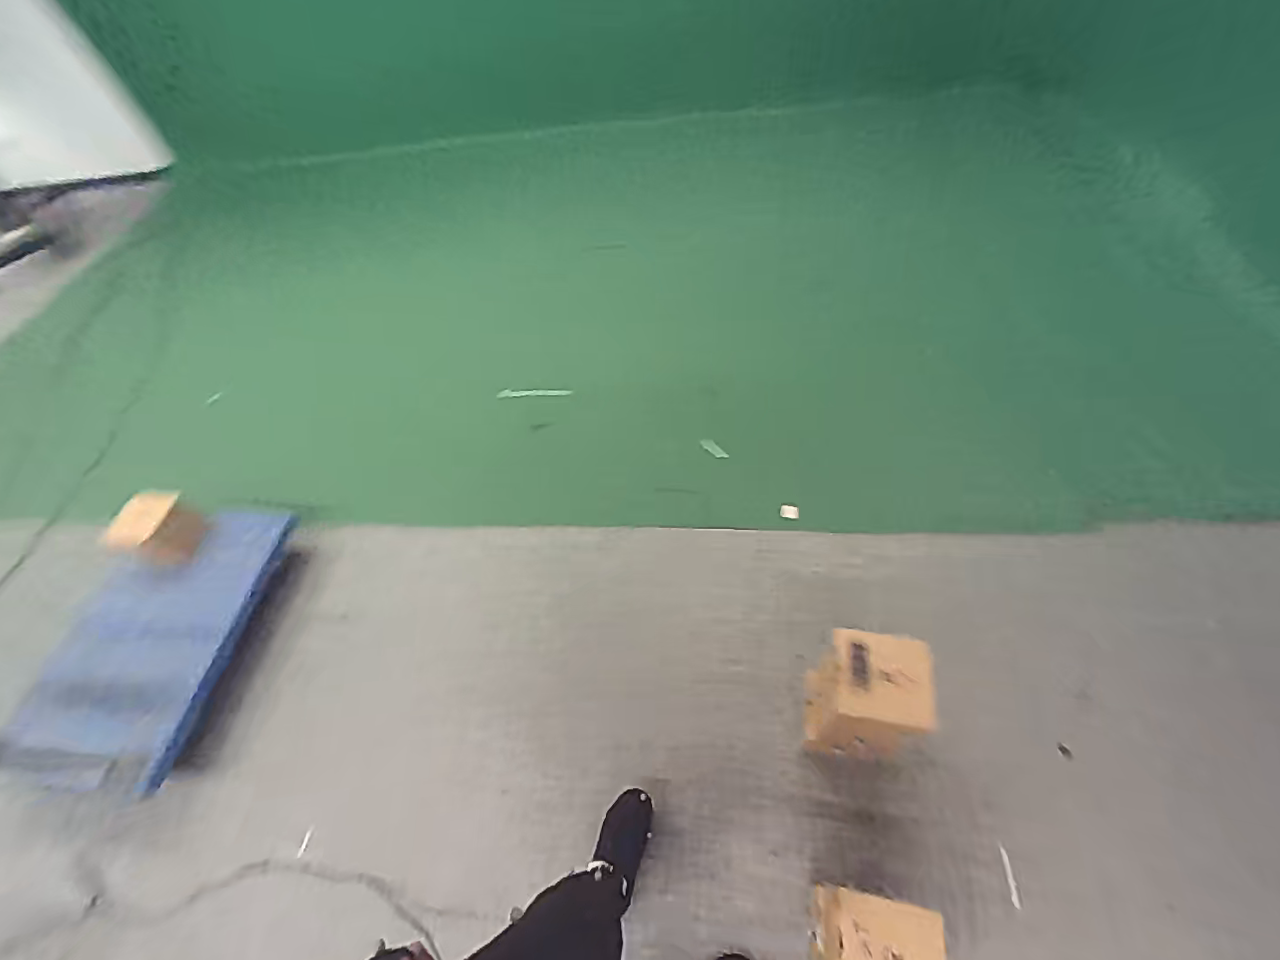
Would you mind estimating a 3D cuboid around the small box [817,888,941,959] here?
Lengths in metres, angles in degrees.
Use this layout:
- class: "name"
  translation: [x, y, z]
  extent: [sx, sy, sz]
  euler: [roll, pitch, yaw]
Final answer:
- class: "small box"
  translation: [0.428, 0.864, 0.984]
  extent: [0.179, 0.176, 0.168]
  euler: [7, 55, 13]

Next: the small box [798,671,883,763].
- class: "small box"
  translation: [0.499, 0.601, 1.364]
  extent: [0.179, 0.176, 0.168]
  euler: [6, 57, 12]

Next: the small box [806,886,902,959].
- class: "small box"
  translation: [0.439, 0.959, 1.119]
  extent: [0.179, 0.176, 0.168]
  euler: [3, 56, 12]

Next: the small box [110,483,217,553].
- class: "small box"
  translation: [-1.571, 0.130, 1.799]
  extent: [0.168, 0.176, 0.179]
  euler: [3, 56, 10]

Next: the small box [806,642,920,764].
- class: "small box"
  translation: [0.499, 0.512, 1.236]
  extent: [0.168, 0.176, 0.179]
  euler: [34, 66, 30]
